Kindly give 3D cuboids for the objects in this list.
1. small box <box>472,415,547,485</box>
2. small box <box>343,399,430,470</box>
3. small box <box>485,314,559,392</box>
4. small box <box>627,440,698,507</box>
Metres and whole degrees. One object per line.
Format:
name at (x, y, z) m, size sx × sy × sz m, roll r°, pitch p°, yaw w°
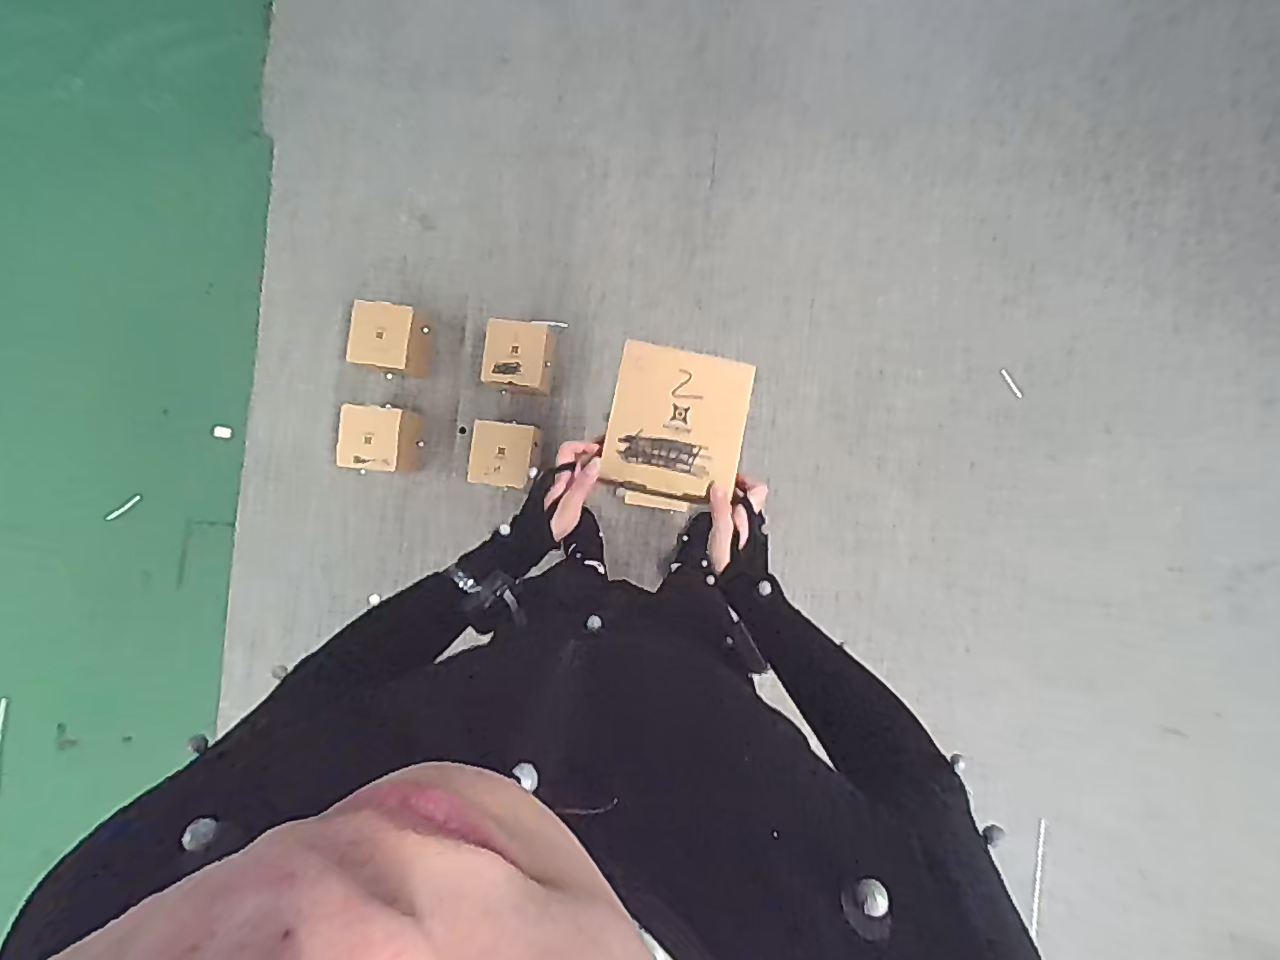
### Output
small box at (-0.368, -0.082, 1.559) m, size 0.168 × 0.176 × 0.179 m, roll 7°, pitch 90°, yaw 1°
small box at (-0.724, -0.126, 1.562) m, size 0.168 × 0.176 × 0.179 m, roll 6°, pitch 89°, yaw 1°
small box at (-0.333, -0.357, 1.557) m, size 0.168 × 0.176 × 0.179 m, roll 8°, pitch 90°, yaw 0°
small box at (0.061, -0.017, 1.557) m, size 0.179 × 0.176 × 0.168 m, roll 8°, pitch 90°, yaw -1°
